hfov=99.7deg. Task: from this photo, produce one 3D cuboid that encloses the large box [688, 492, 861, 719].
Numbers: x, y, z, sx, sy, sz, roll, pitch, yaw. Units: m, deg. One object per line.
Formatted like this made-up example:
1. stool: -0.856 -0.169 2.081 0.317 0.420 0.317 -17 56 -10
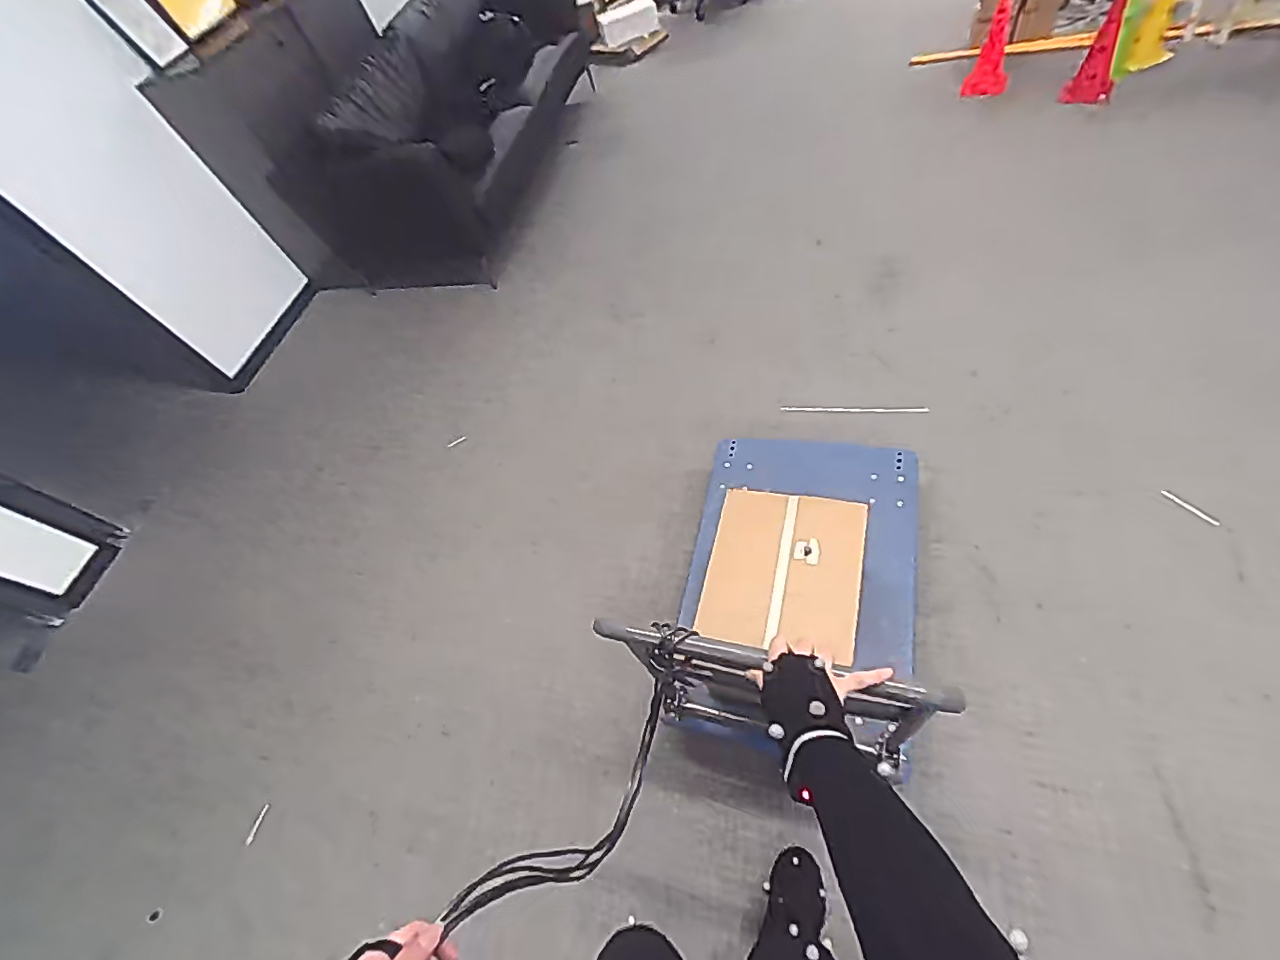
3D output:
1. large box: 0.328 0.292 1.269 0.320 0.320 0.408 8 59 20
